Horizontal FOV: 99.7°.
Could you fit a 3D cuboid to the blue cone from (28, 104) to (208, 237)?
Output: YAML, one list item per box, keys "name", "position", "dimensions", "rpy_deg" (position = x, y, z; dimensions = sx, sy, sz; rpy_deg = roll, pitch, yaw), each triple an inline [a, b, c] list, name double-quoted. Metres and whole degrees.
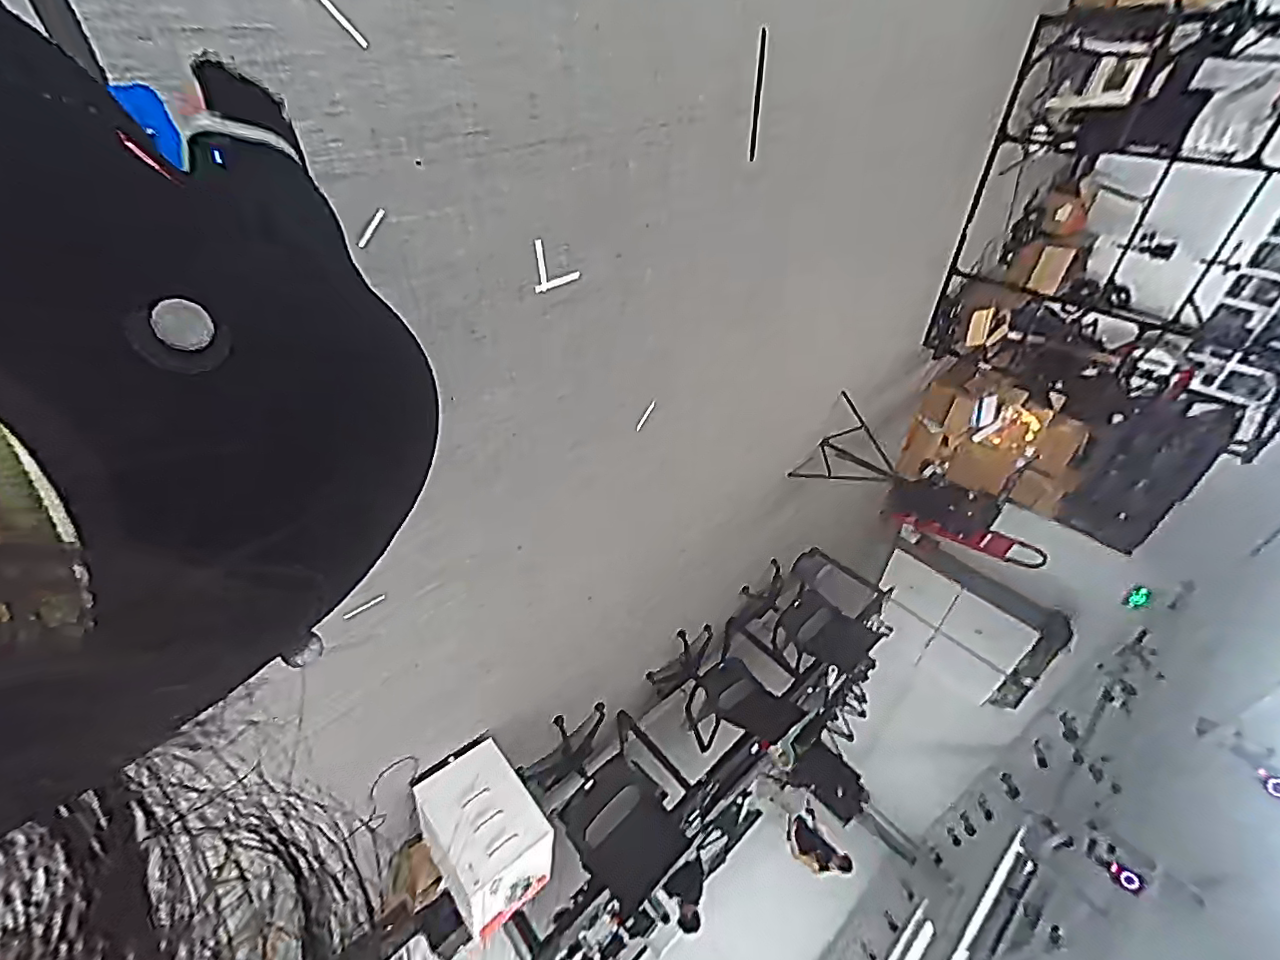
- name: "blue cone"
  position: [-0.816, -0.482, 0.891]
  dimensions: [0.192, 0.380, 0.193]
  rpy_deg: [-35, 142, -27]
